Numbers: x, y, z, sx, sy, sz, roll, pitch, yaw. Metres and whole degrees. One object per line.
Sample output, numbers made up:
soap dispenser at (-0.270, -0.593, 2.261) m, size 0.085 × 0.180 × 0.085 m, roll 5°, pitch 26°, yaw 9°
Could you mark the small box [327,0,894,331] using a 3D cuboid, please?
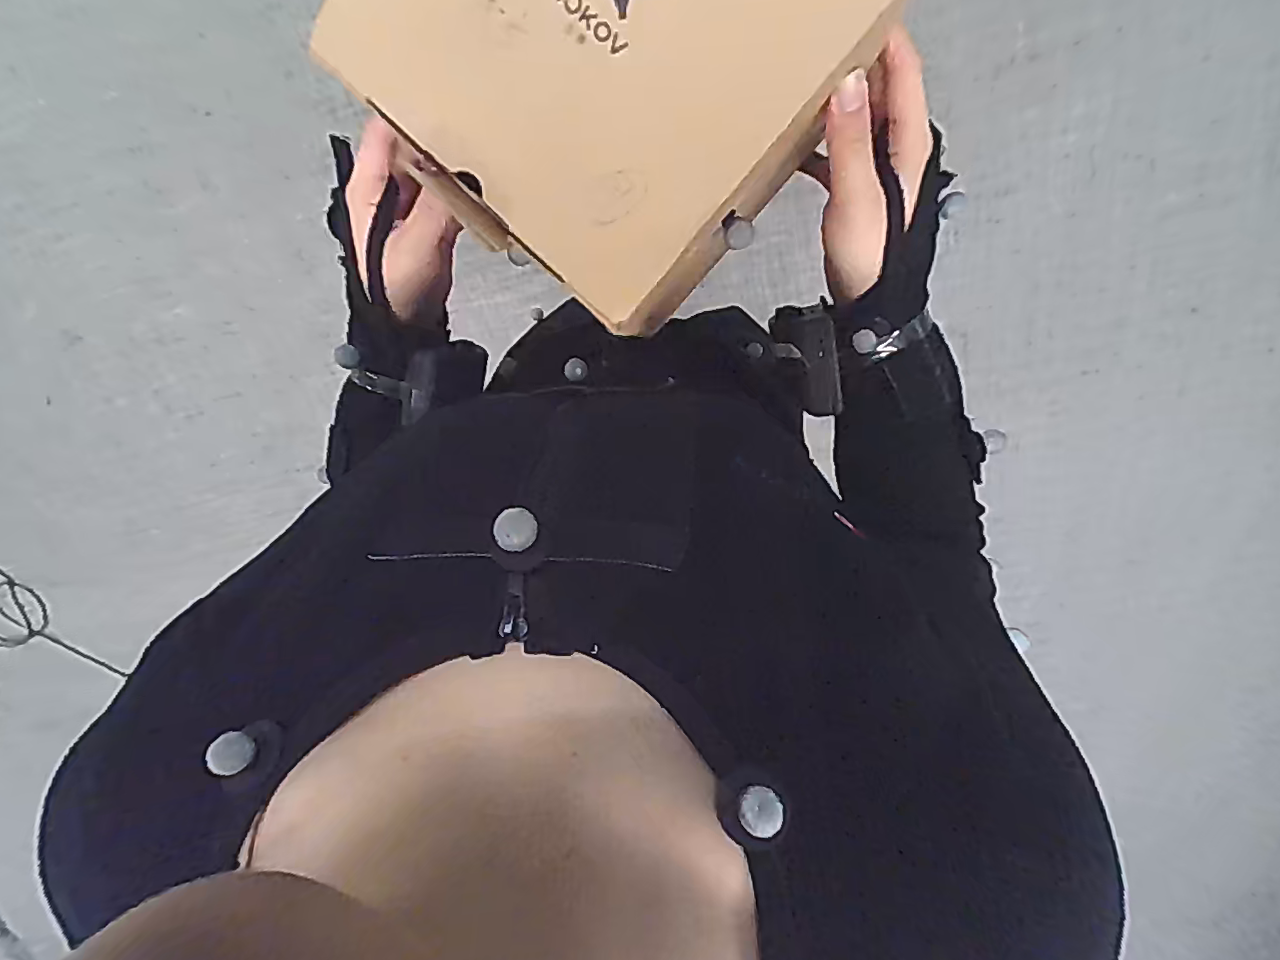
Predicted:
small box at (-0.006, -0.196, 0.284) m, size 0.168 × 0.176 × 0.179 m, roll 41°, pitch 105°, yaw -4°
